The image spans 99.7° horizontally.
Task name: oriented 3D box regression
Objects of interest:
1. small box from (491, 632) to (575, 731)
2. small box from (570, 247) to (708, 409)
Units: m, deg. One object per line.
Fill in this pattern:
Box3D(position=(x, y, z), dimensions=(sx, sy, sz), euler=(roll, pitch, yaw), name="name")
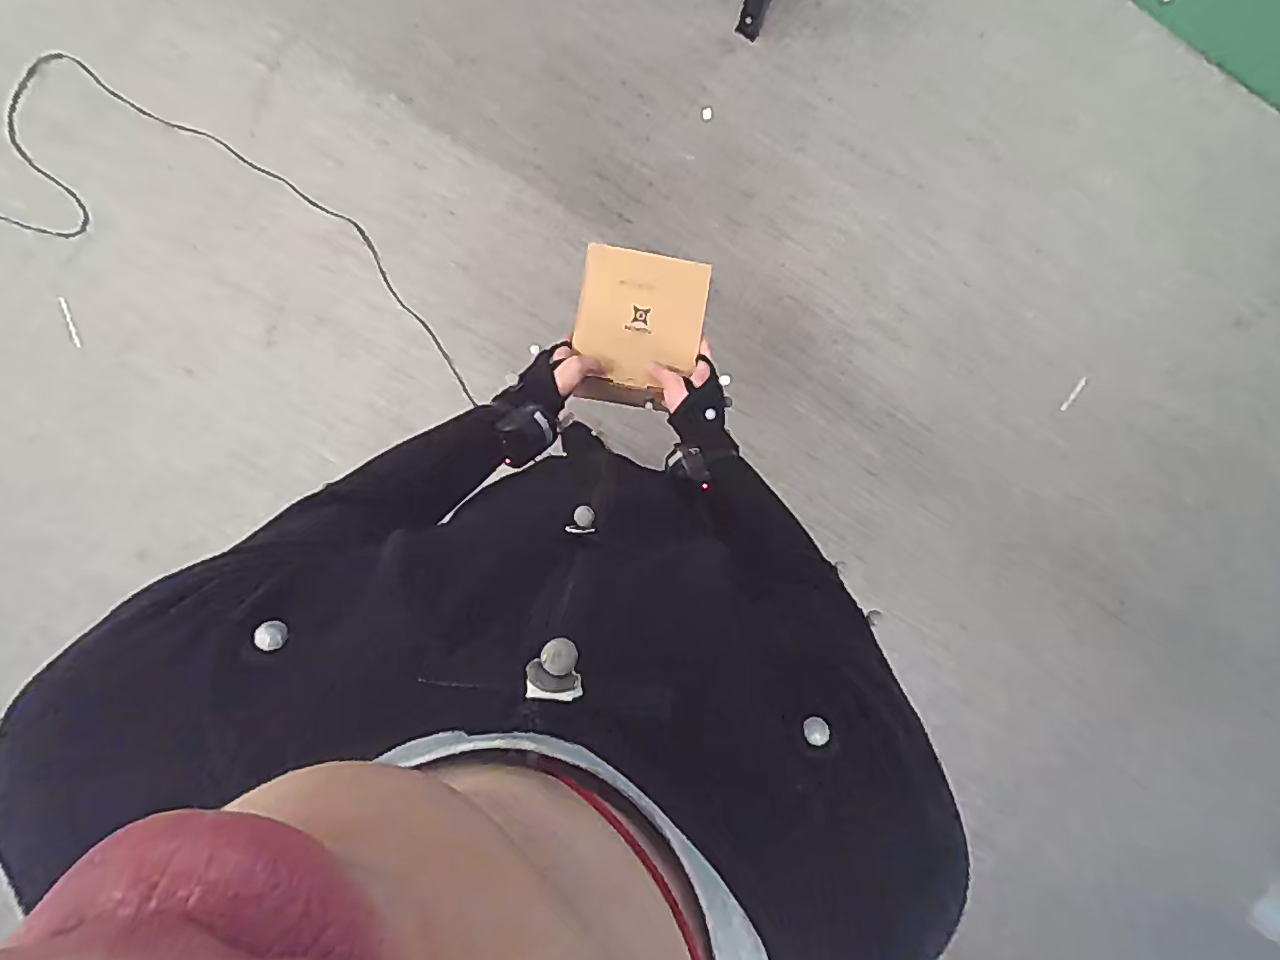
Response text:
Box3D(position=(-0.296, 0.564, 1.541), dimensions=(0.168, 0.176, 0.179), euler=(29, 95, -2), name="small box")
Box3D(position=(-0.007, -0.207, 0.790), dimensions=(0.168, 0.176, 0.179), euler=(8, 88, -6), name="small box")
